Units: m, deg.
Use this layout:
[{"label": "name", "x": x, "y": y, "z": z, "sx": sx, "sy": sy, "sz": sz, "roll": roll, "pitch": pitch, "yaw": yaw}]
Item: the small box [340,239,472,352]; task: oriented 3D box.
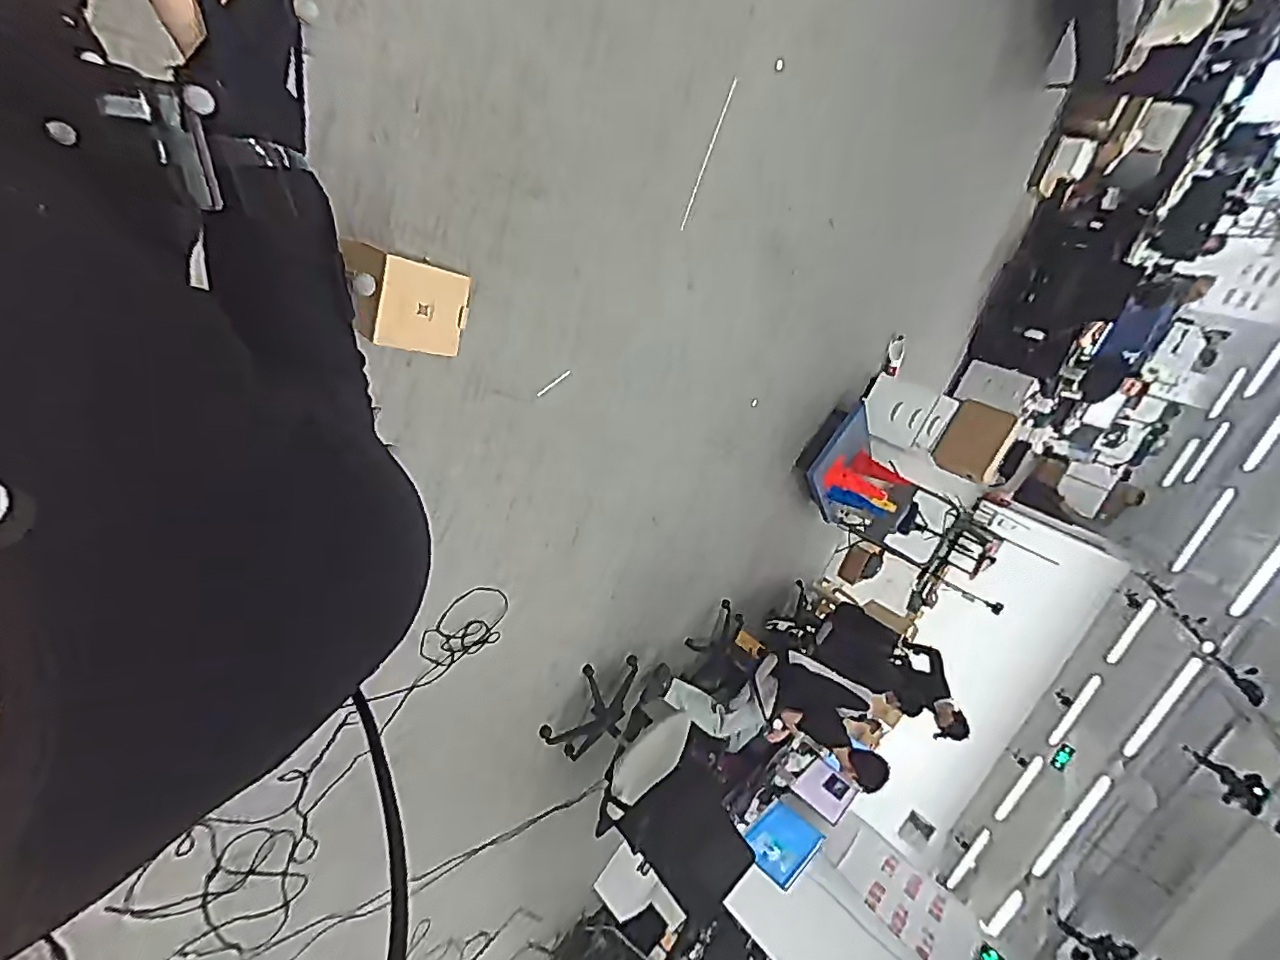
[{"label": "small box", "x": -0.472, "y": -0.370, "z": 1.086, "sx": 0.179, "sy": 0.176, "sz": 0.168, "roll": -4, "pitch": 118, "yaw": -49}]

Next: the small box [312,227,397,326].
[{"label": "small box", "x": -0.593, "y": -0.432, "z": 1.178, "sx": 0.168, "sy": 0.176, "sz": 0.179, "roll": -3, "pitch": 118, "yaw": -49}]
